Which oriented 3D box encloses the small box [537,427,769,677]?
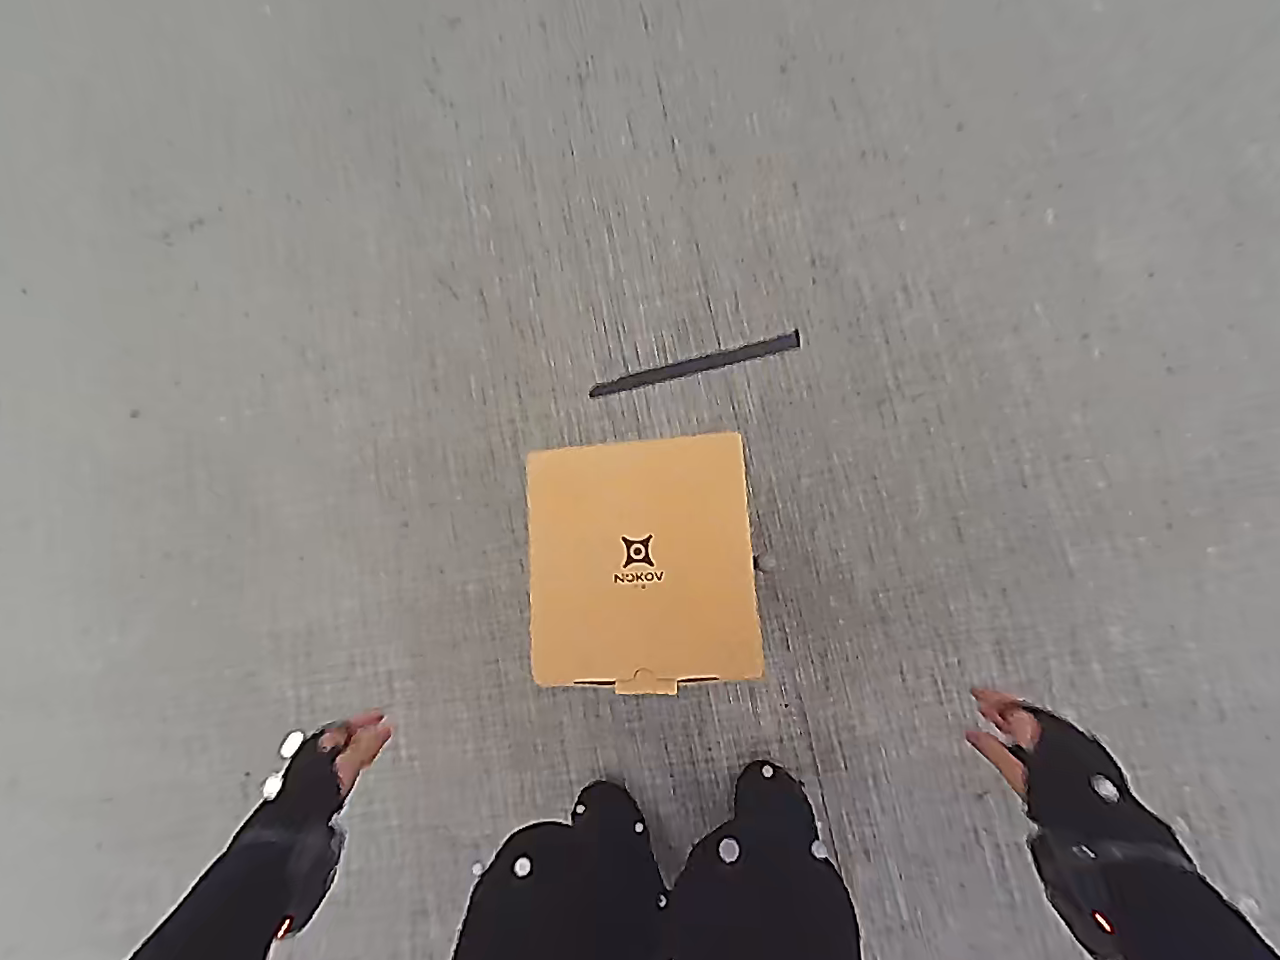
[{"bbox_3d":[0.016,0.065,0.473,0.168,0.176,0.179,-6,80,9],"label":"small box"}]
